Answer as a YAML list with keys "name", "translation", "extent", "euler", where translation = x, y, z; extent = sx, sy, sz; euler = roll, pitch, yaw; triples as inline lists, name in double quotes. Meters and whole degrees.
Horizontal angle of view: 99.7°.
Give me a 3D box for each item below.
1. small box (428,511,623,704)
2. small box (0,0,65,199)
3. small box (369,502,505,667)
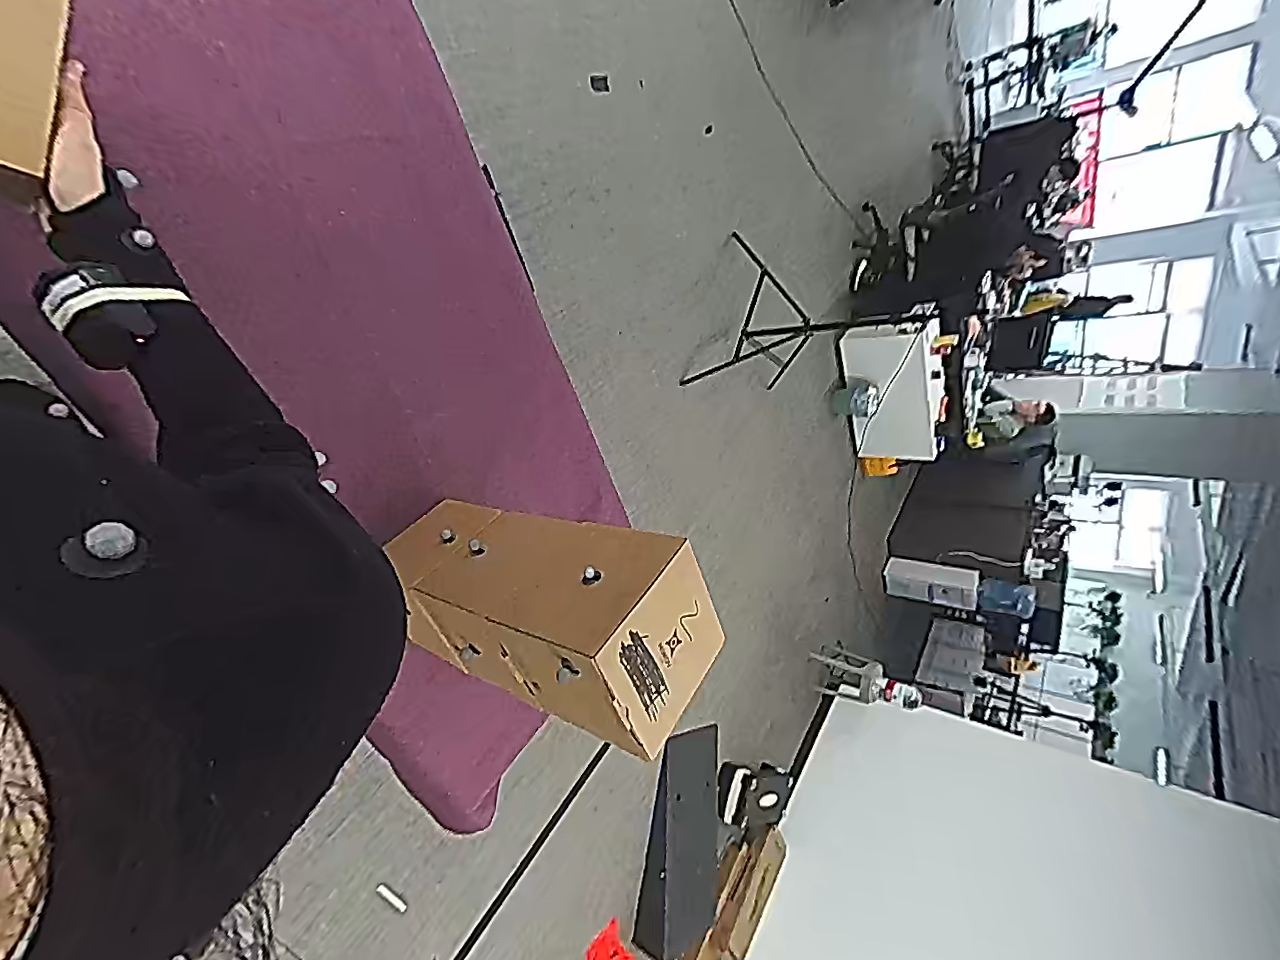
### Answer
- name: "small box"
  translation: [-0.159, 0.161, 0.738]
  extent: [0.179, 0.176, 0.168]
  euler: [-44, 126, -38]
- name: "small box"
  translation: [-0.510, -0.314, 0.356]
  extent: [0.168, 0.176, 0.179]
  euler: [7, 94, -52]
- name: "small box"
  translation: [-0.287, 0.150, 0.840]
  extent: [0.179, 0.176, 0.168]
  euler: [-45, 127, -38]
